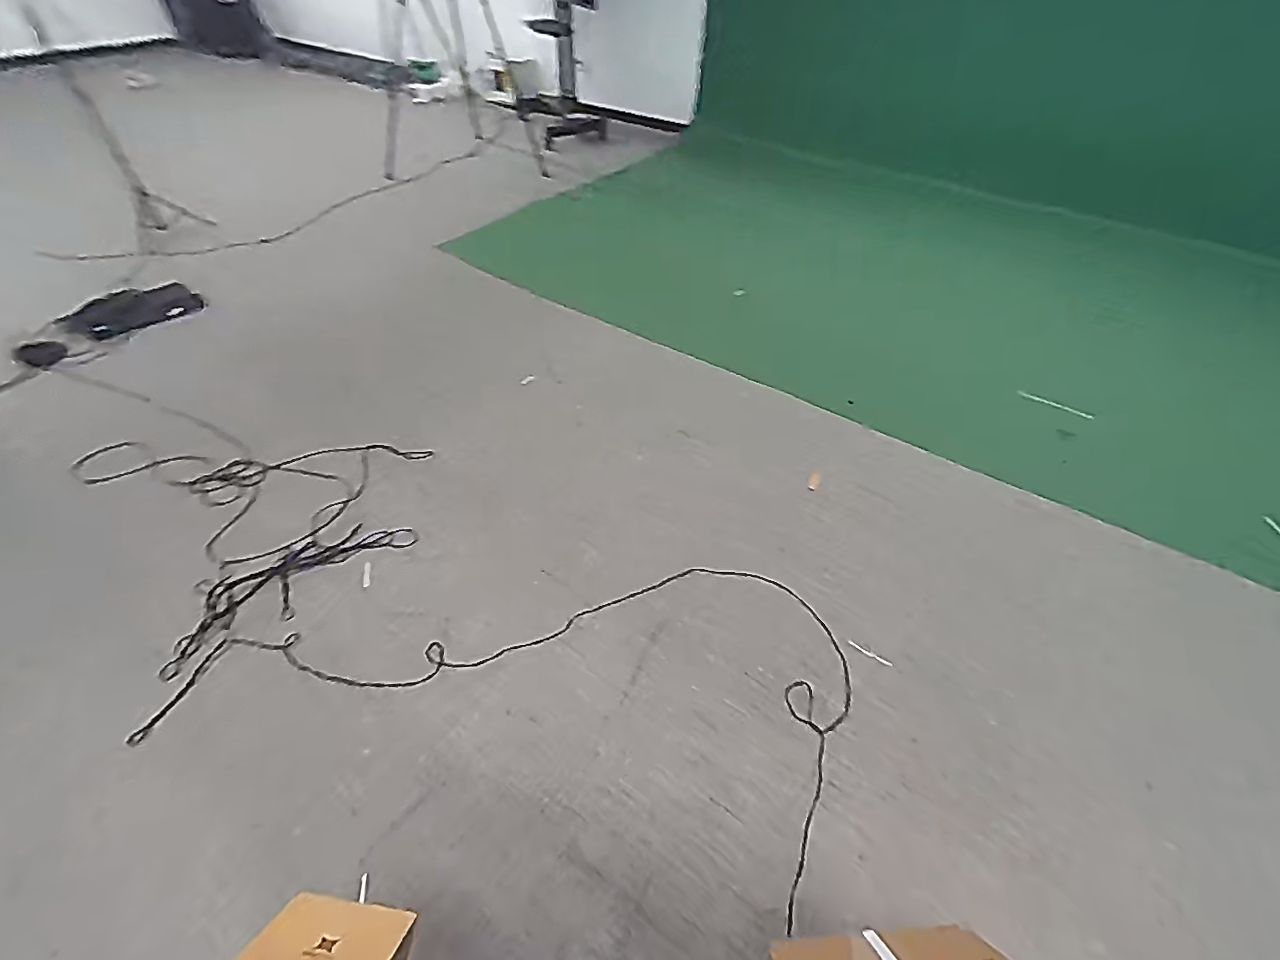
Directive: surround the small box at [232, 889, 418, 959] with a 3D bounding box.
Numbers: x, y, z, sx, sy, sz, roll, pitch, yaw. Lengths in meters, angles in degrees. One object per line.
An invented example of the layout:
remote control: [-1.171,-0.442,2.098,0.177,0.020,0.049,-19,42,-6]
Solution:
small box: [-0.396,0.644,0.645,0.168,0.179,0.176,11,81,0]
